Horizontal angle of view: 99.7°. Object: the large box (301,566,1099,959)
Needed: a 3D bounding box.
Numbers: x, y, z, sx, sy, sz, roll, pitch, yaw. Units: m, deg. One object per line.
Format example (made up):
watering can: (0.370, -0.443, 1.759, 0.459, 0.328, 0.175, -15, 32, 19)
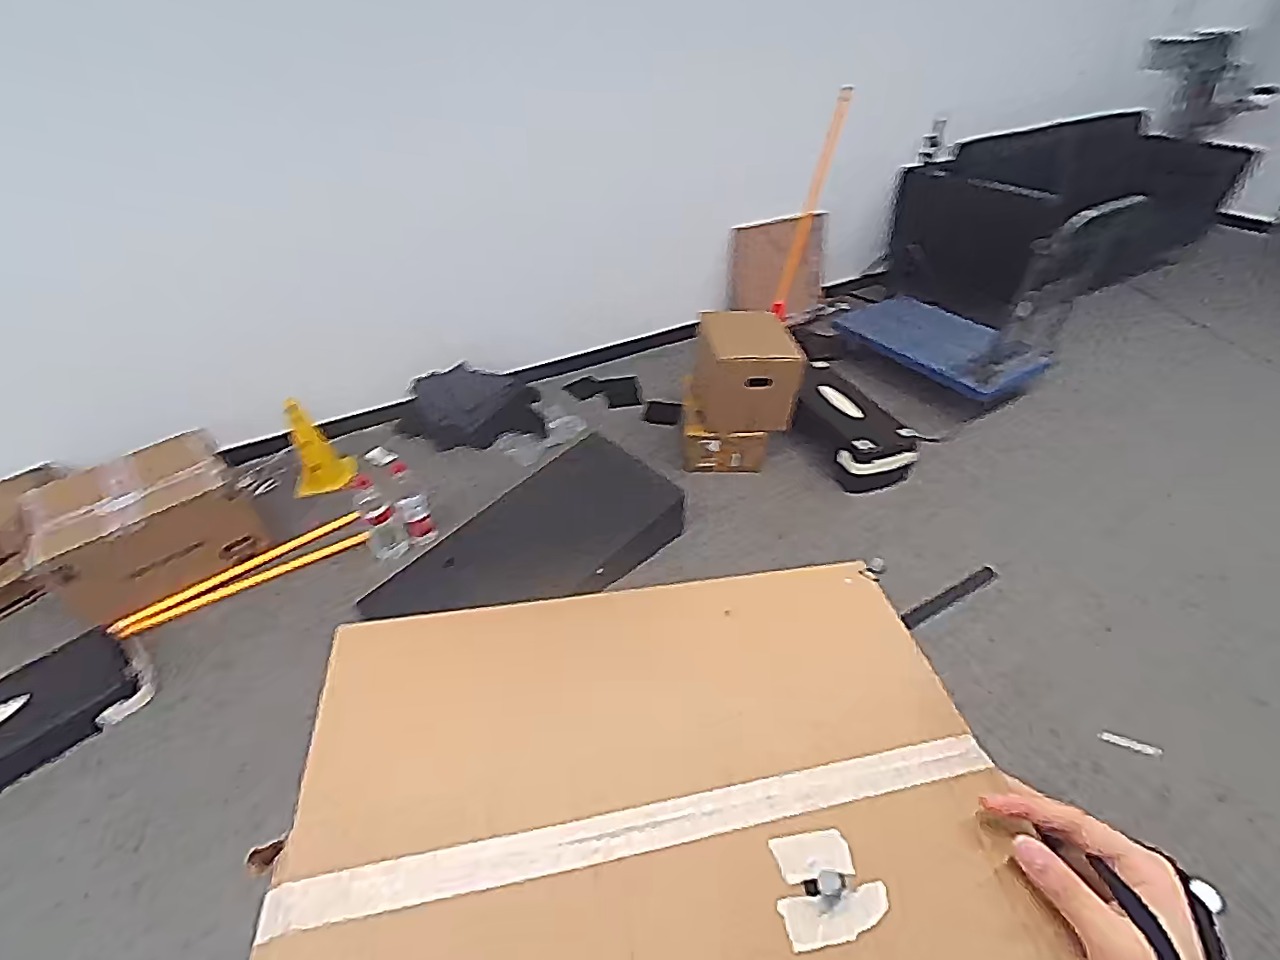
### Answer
large box: (0.009, 0.300, 0.418, 0.408, 0.320, 0.320, -3, 45, -13)
